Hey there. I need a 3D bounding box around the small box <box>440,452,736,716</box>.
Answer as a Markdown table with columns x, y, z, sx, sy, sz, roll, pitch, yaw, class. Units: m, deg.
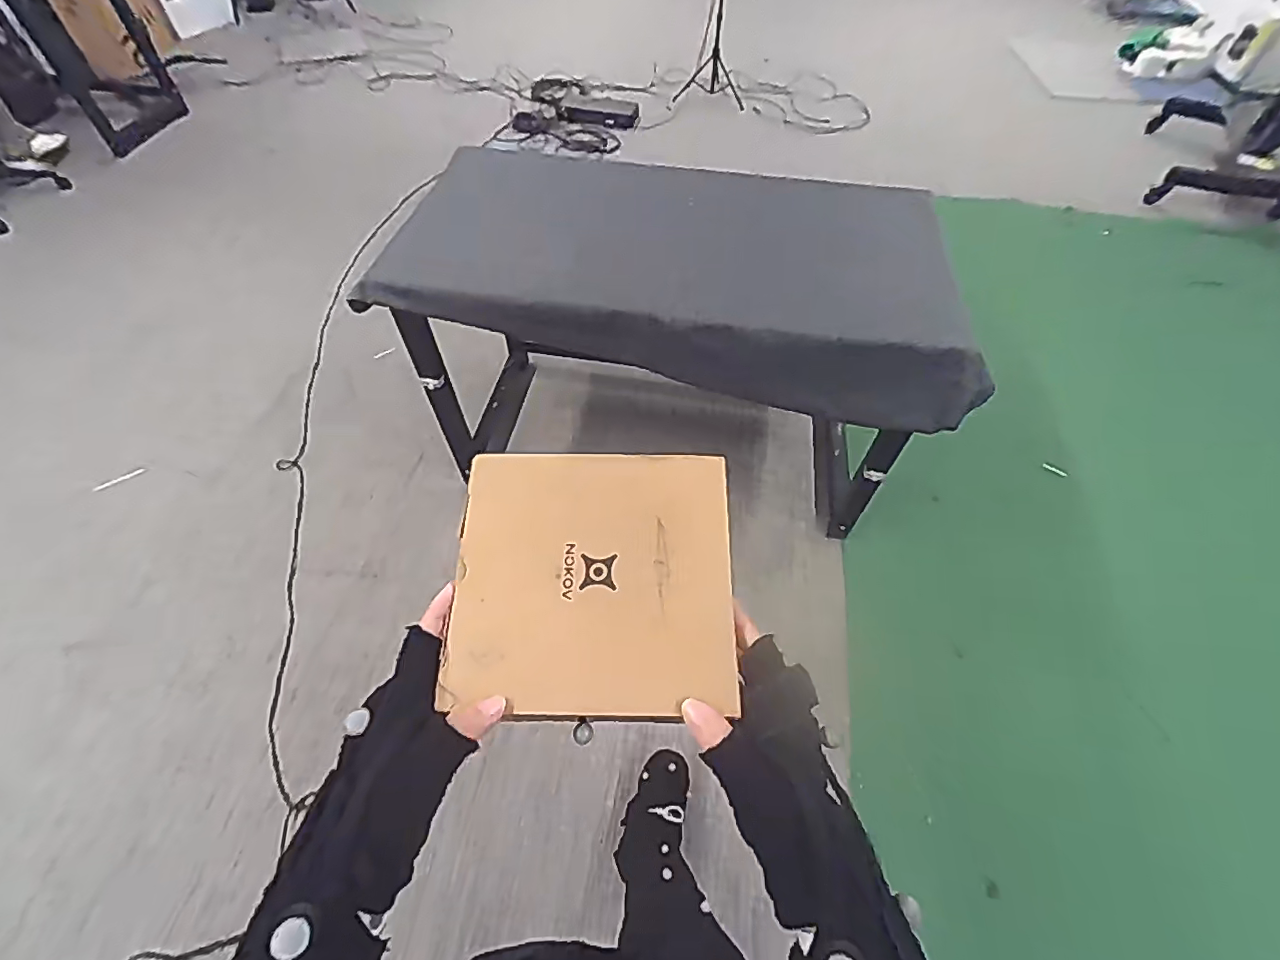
| x | y | z | sx | sy | sz | roll | pitch | yaw | class |
| --- | --- | --- | --- | --- | --- | --- | --- | --- | --- |
| -0.029 | 0.090 | 0.417 | 0.179 | 0.176 | 0.168 | 0 | 66 | 0 | small box |
